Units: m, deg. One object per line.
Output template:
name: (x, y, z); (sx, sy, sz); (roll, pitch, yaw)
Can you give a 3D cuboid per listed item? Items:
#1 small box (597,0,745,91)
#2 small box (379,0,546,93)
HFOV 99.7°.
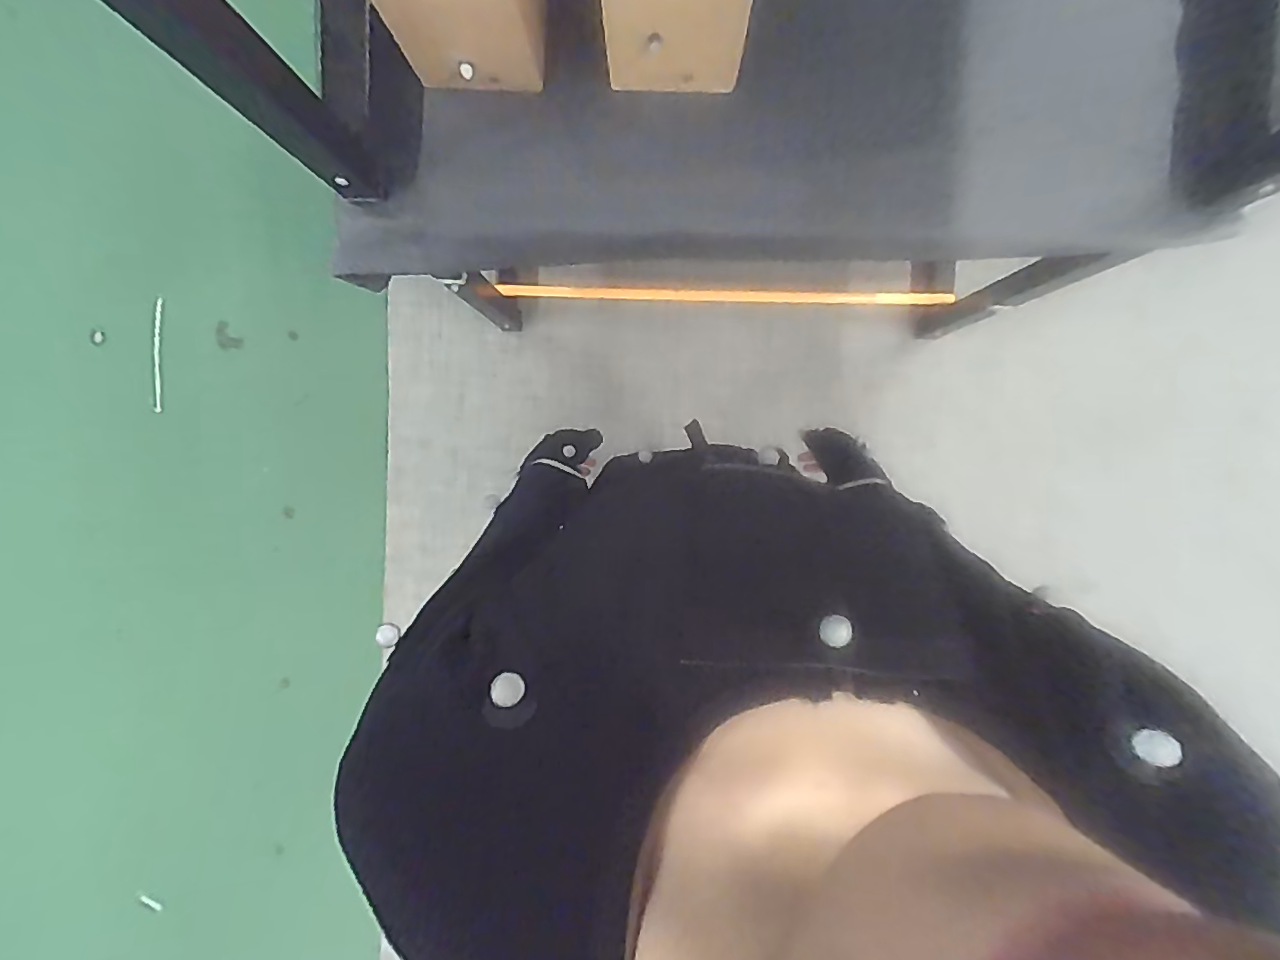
small box: (0.041, -0.605, 0.647); (0.168, 0.176, 0.179); (2, 93, 1)
small box: (-0.212, -0.613, 0.651); (0.168, 0.176, 0.179); (3, 94, 2)
